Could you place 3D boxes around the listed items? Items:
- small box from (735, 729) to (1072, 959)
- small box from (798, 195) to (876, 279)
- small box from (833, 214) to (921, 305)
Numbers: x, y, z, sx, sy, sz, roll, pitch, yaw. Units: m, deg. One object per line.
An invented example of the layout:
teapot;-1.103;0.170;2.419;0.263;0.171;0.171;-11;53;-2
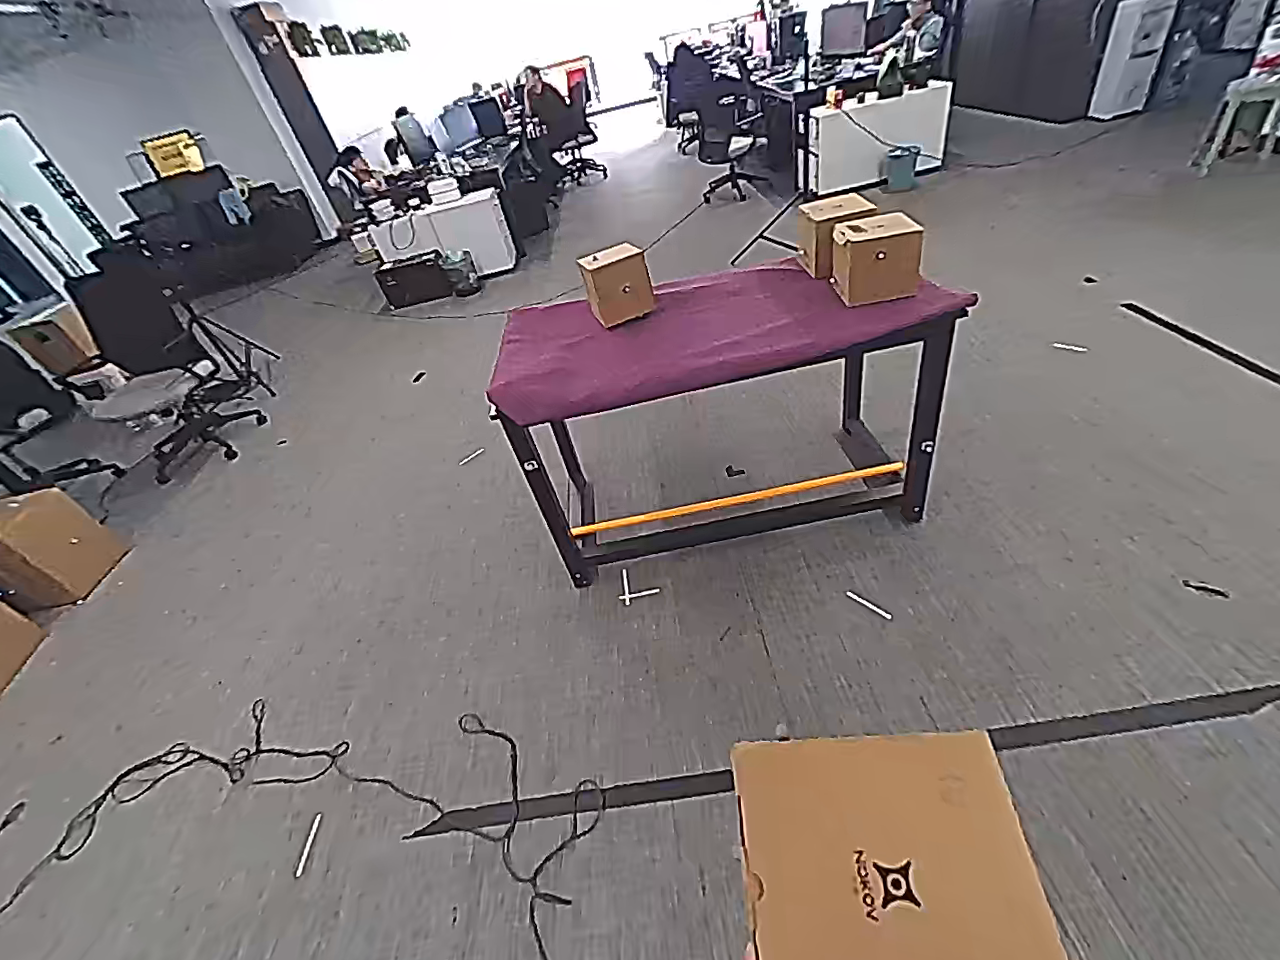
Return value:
small box;0.168;0.287;0.400;0.179;0.176;0.168;-8;57;7
small box;0.579;-0.723;1.612;0.179;0.176;0.168;-12;40;4
small box;0.618;-0.579;1.429;0.179;0.176;0.168;-8;39;8
